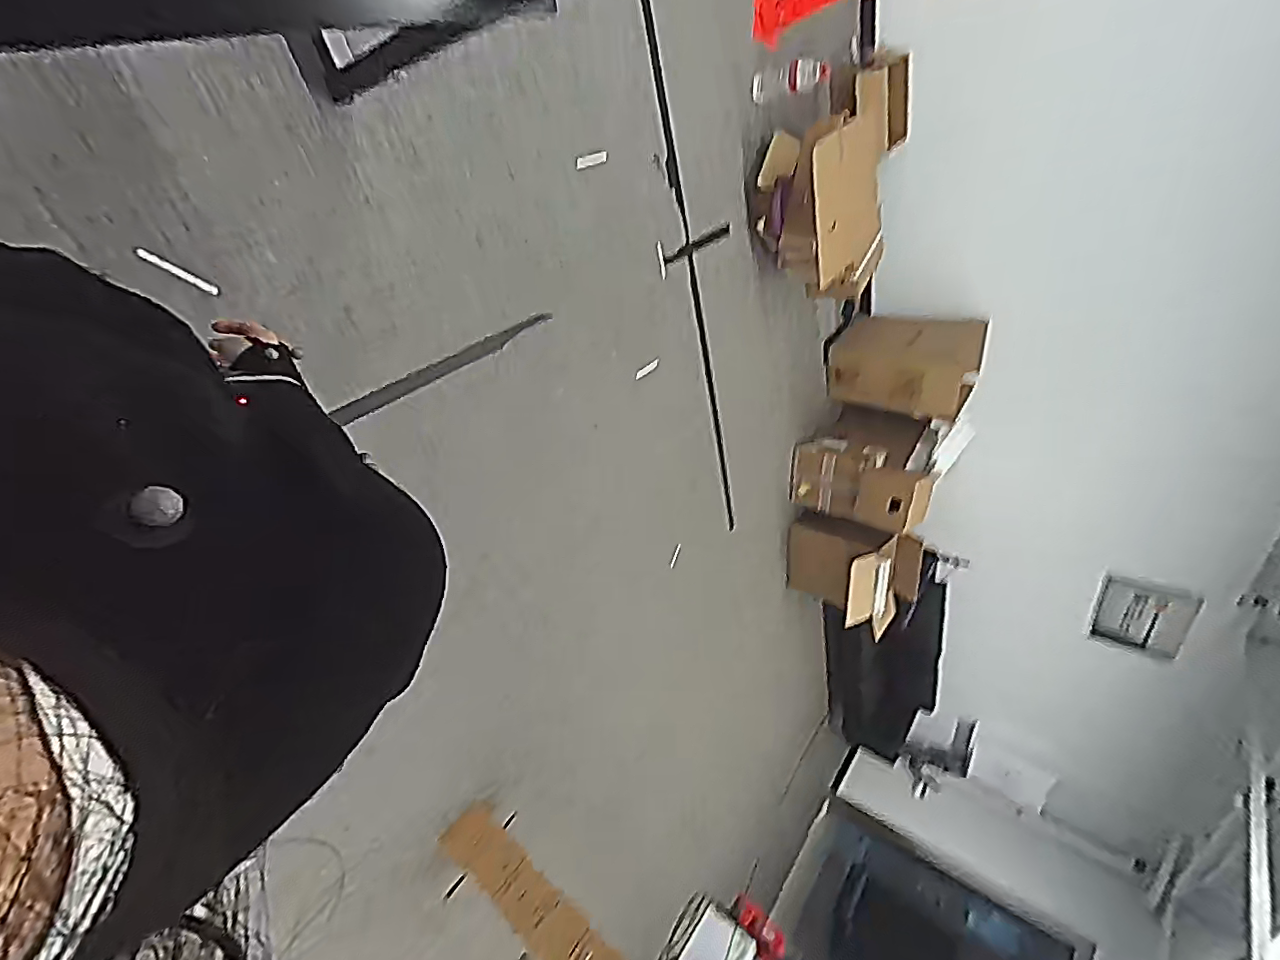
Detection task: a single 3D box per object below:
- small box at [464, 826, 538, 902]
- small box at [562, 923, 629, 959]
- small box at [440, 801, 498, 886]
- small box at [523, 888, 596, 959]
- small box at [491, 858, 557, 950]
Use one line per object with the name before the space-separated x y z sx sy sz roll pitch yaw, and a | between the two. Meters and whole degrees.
small box | -0.503 1.408 1.961 0.179 0.176 0.168 -40 130 -37
small box | -0.132 1.520 1.662 0.168 0.176 0.179 -44 132 -35
small box | -0.632 1.380 2.059 0.179 0.176 0.168 -42 132 -35
small box | -0.255 1.484 1.761 0.168 0.176 0.179 -41 132 -36
small box | -0.383 1.449 1.858 0.168 0.176 0.179 -40 130 -36
